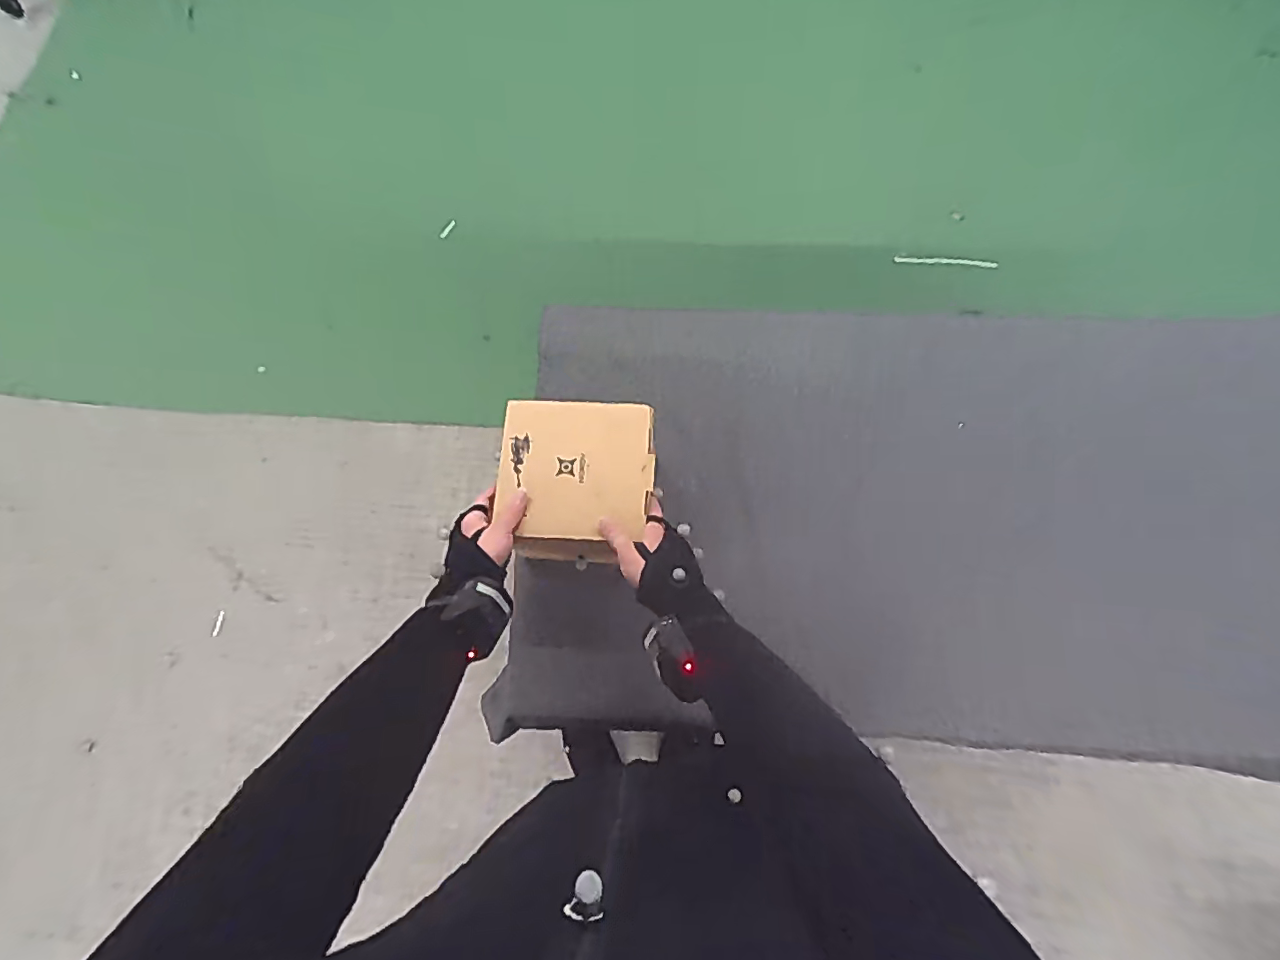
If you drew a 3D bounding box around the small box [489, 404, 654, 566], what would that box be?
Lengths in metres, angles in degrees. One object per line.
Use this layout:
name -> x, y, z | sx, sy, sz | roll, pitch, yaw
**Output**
small box -> -0.075, 0.016, 0.692 | 0.179, 0.176, 0.168 | 3, 73, 2
